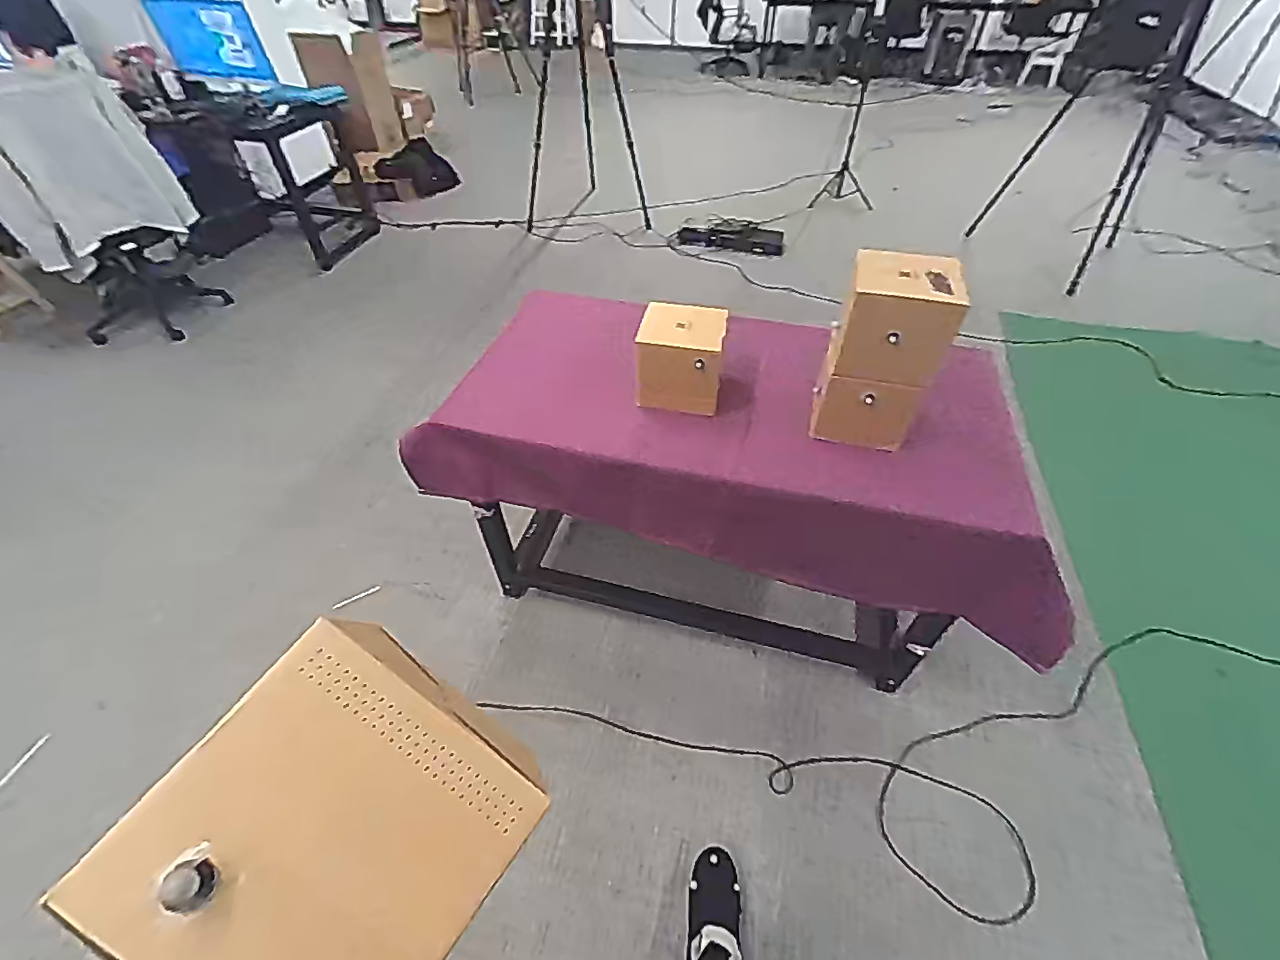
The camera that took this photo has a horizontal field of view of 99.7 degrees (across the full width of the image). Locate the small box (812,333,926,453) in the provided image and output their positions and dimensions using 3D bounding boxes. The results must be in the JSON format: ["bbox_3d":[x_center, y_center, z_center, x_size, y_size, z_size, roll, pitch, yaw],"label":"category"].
[{"bbox_3d":[0.458,-0.176,1.101,0.179,0.176,0.168,12,48,11],"label":"small box"}]

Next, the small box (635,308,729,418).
[{"bbox_3d":[0.091,-0.254,1.185,0.179,0.176,0.168,8,47,8],"label":"small box"}]

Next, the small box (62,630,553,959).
[{"bbox_3d":[-0.185,0.217,0.363,0.179,0.168,0.176,40,68,-2],"label":"small box"}]

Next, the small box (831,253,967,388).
[{"bbox_3d":[0.459,-0.287,0.980,0.179,0.176,0.168,11,48,12],"label":"small box"}]
